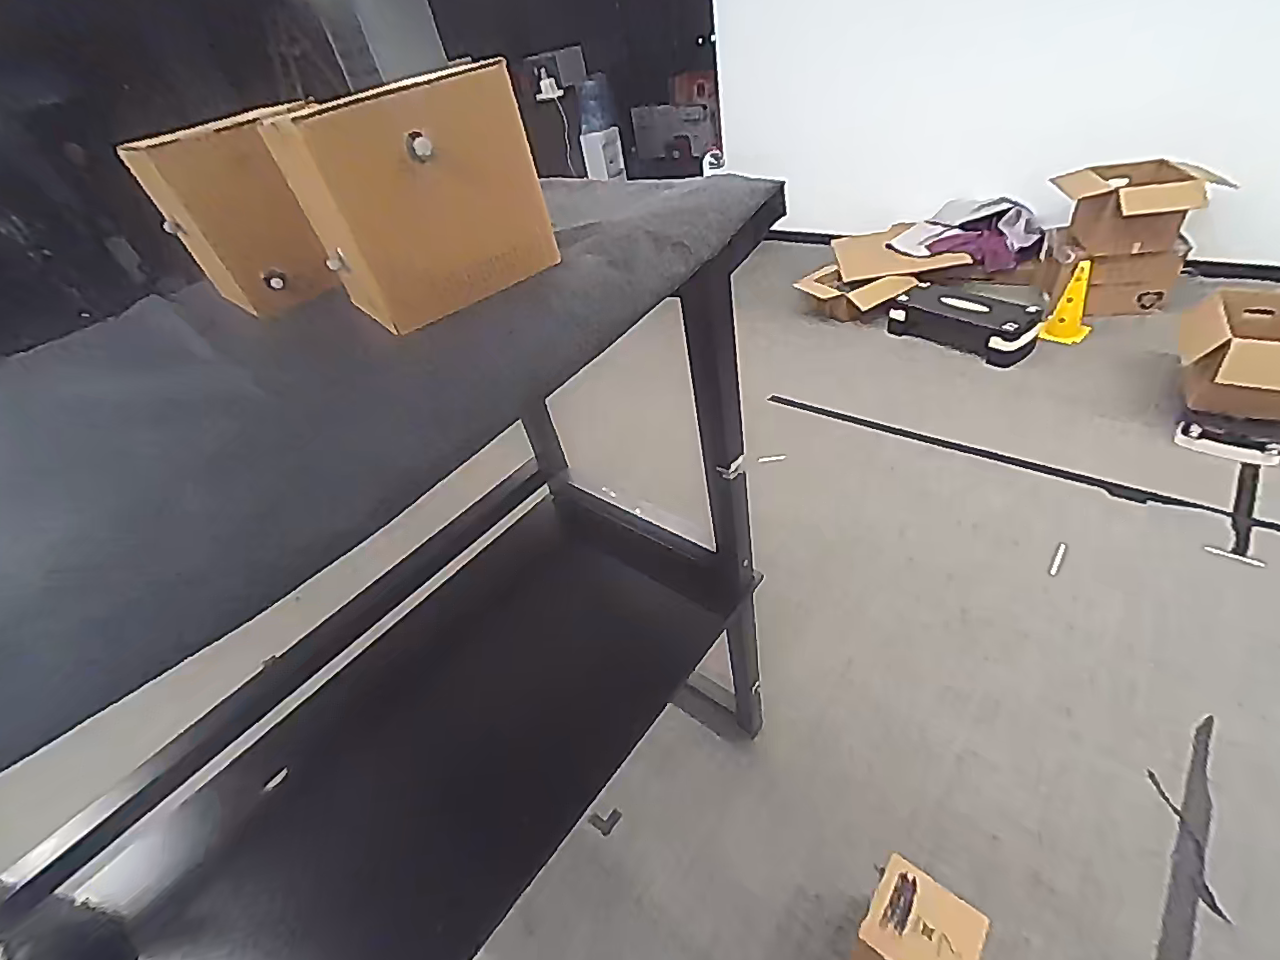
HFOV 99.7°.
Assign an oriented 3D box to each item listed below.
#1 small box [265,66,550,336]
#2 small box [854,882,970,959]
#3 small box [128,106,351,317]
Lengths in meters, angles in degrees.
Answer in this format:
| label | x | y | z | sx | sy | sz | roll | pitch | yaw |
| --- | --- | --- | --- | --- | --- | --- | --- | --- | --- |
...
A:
| label | x | y | z | sx | sy | sz | roll | pitch | yaw |
| --- | --- | --- | --- | --- | --- | --- | --- | --- | --- |
| small box | -0.203 | -0.261 | 0.510 | 0.179 | 0.176 | 0.168 | -35 | 43 | -21 |
| small box | 0.553 | 0.993 | 1.119 | 0.168 | 0.176 | 0.179 | 21 | 52 | 34 |
| small box | -0.429 | -0.308 | 0.627 | 0.179 | 0.176 | 0.168 | 26 | 54 | 38 |
